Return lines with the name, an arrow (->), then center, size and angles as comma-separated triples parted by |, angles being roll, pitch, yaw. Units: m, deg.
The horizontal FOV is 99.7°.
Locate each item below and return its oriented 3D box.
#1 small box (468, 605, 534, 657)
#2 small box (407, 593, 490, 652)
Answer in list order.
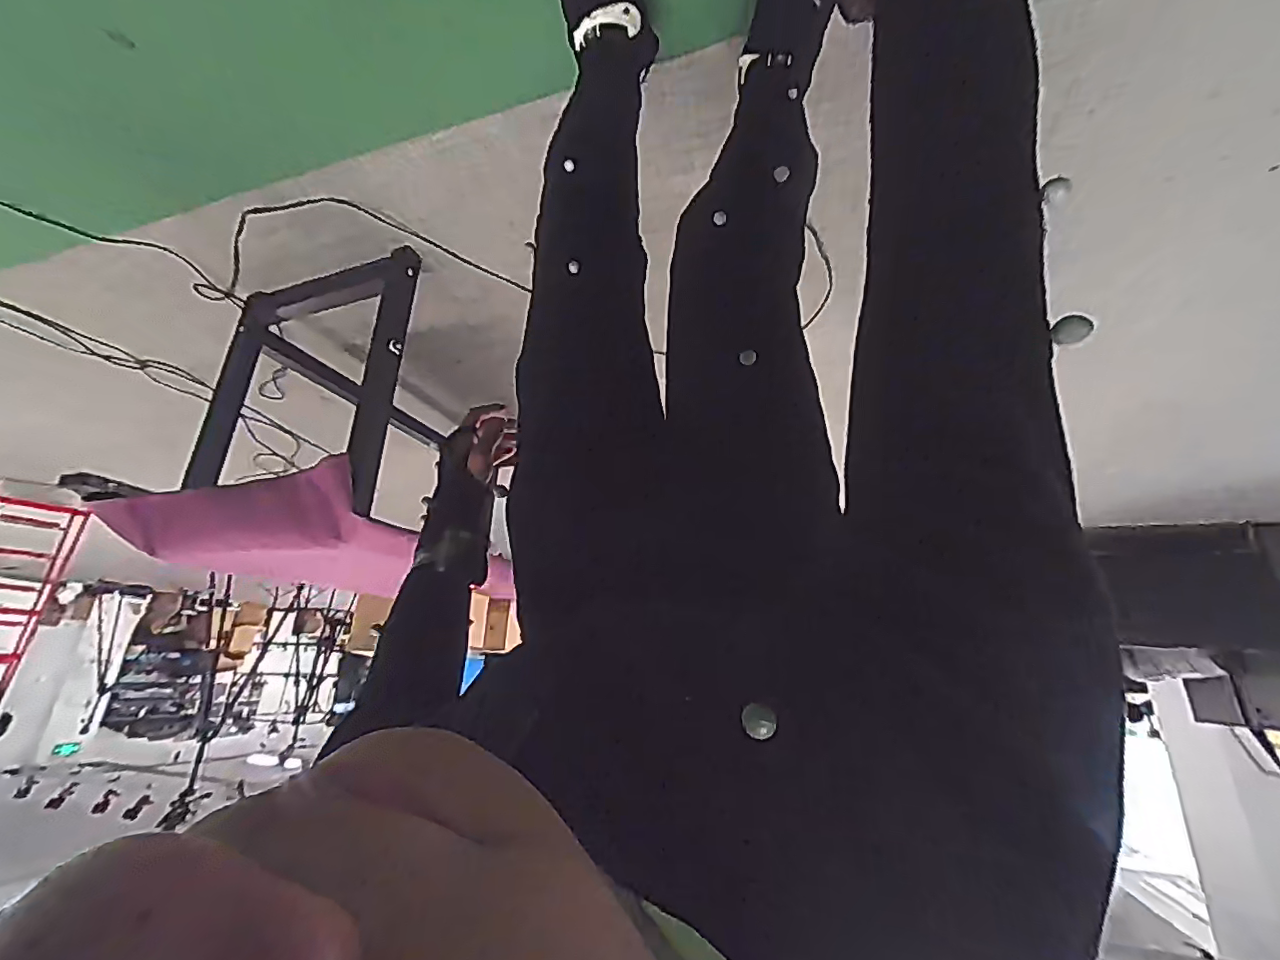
small box -> -0.494, 0.546, 1.951 | 0.179, 0.176, 0.168 | -6, 157, 20
small box -> -0.593, 0.447, 1.695 | 0.168, 0.176, 0.179 | -5, 160, 20
